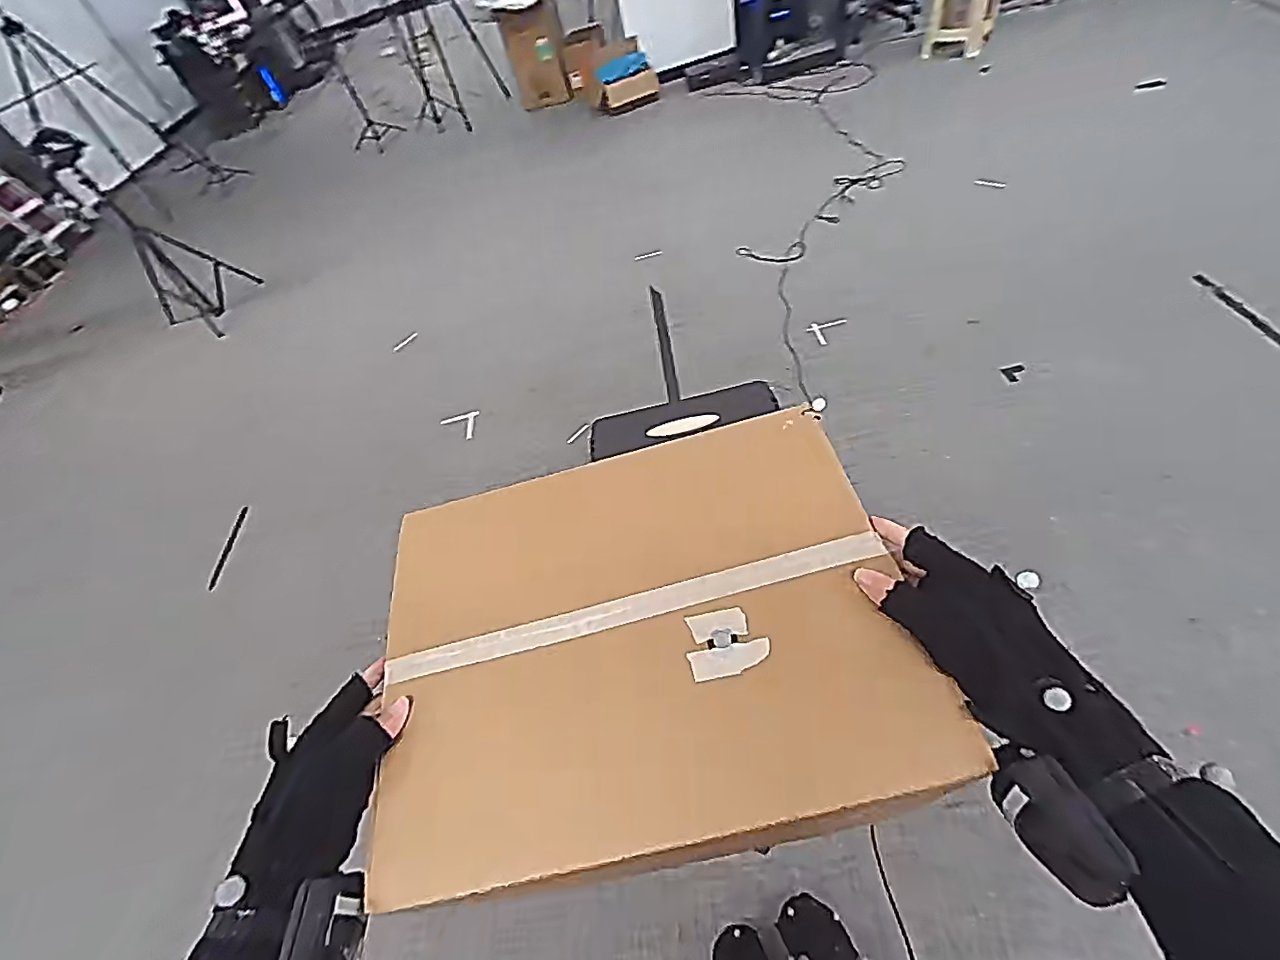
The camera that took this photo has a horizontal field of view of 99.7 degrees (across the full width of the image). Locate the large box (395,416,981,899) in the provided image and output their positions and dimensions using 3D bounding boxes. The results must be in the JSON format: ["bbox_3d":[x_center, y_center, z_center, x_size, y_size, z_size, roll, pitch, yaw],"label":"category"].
[{"bbox_3d":[0.029,0.193,0.556,0.408,0.320,0.320,-15,53,3],"label":"large box"}]
